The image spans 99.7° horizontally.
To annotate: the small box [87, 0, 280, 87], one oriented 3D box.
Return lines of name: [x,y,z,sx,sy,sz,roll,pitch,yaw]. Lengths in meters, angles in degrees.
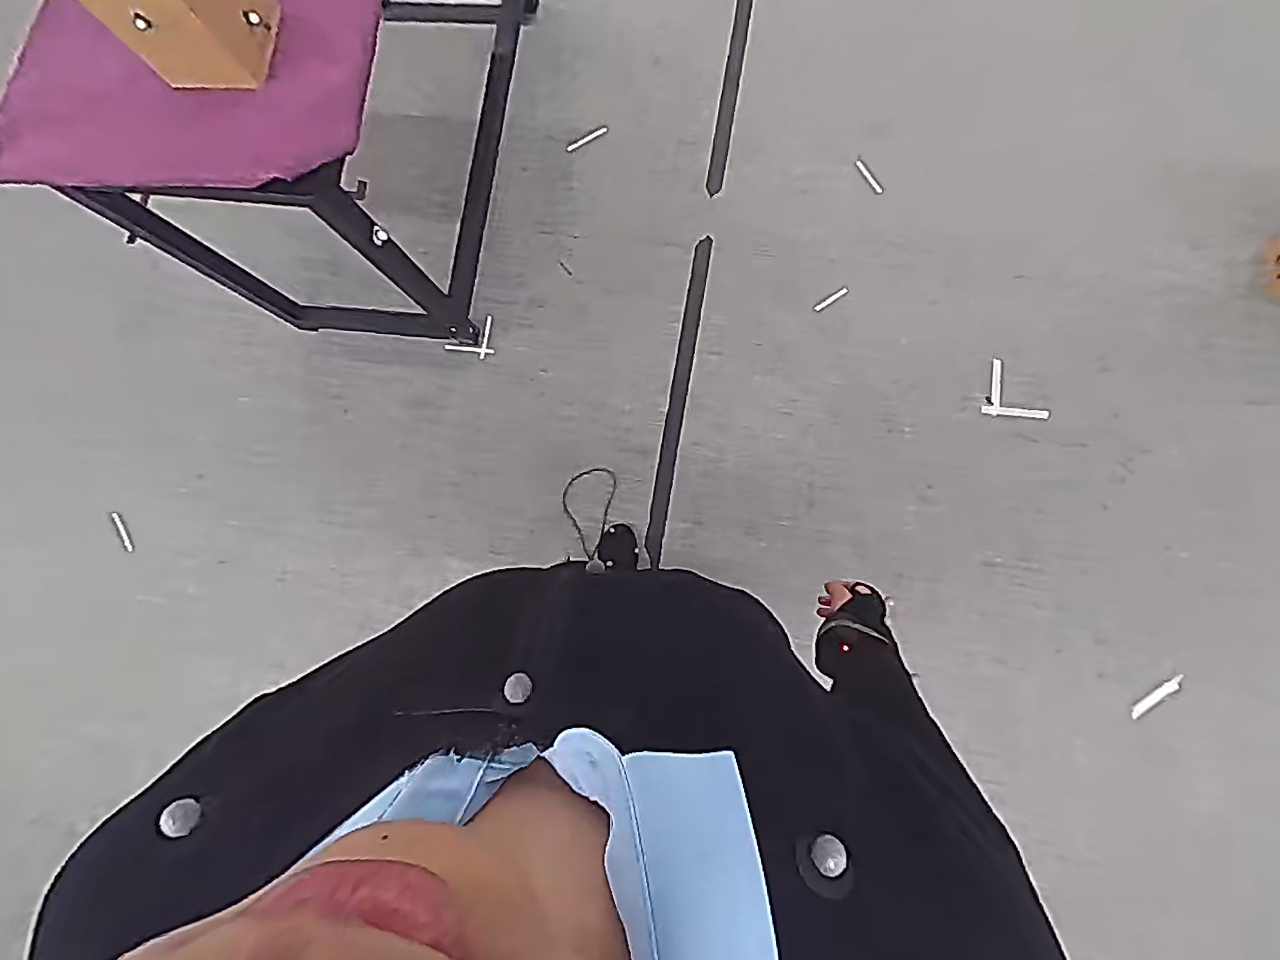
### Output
small box: [-0.727,-0.768,0.862,0.179,0.176,0.168,5,82,5]
